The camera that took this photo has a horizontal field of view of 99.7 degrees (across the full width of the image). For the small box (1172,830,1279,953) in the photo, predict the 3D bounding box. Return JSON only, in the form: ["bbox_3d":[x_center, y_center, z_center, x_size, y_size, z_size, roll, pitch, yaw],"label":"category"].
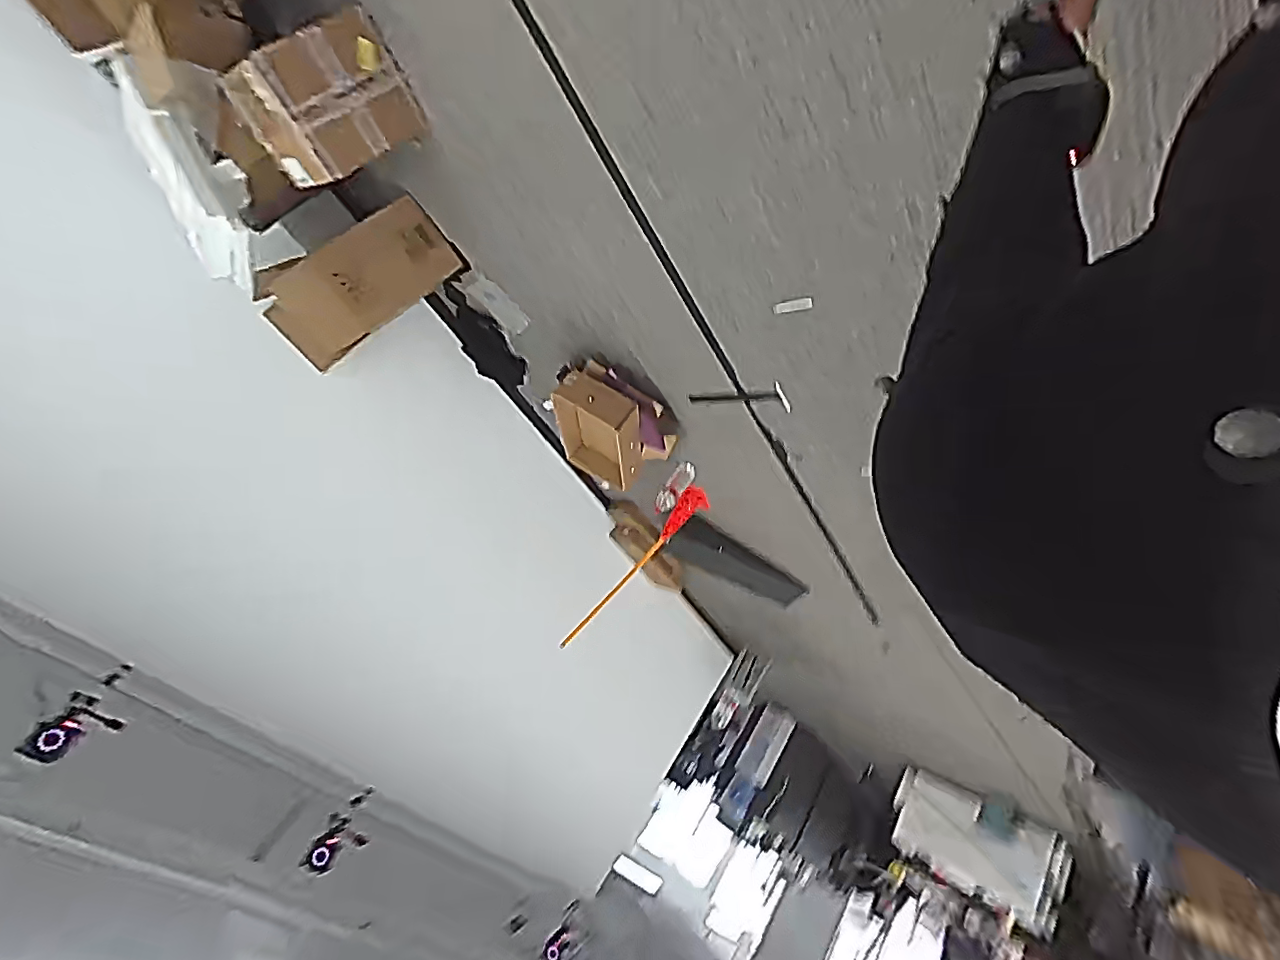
[{"bbox_3d":[1.496,1.041,1.381,0.179,0.176,0.168,9,145,50],"label":"small box"}]
